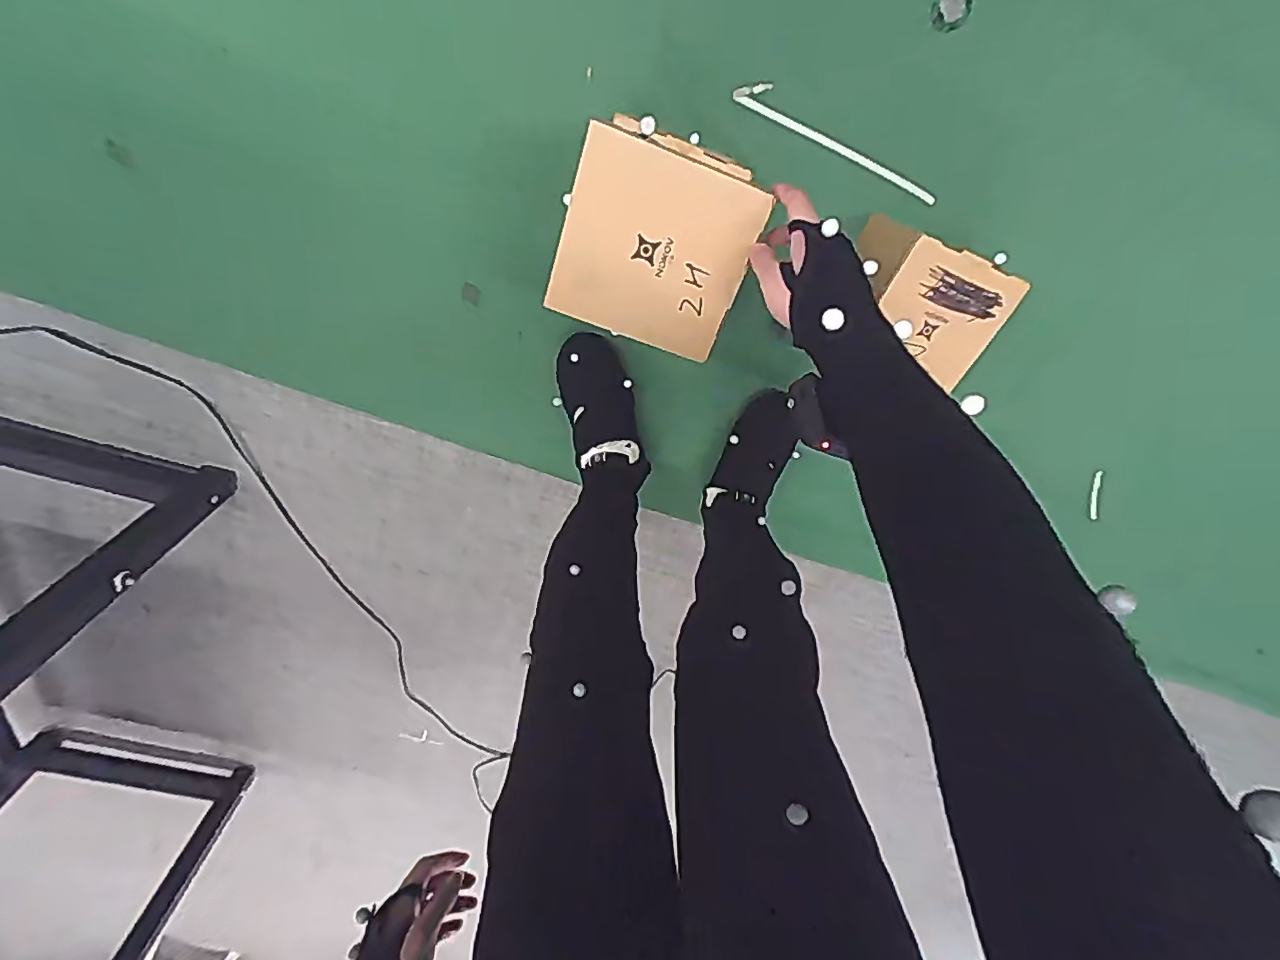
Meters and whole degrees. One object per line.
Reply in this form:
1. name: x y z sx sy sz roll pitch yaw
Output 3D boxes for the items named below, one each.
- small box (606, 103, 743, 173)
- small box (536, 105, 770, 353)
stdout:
1. small box: 0.015 -0.355 0.702 0.168 0.176 0.179 18 121 -10
2. small box: 0.008 -0.262 0.567 0.179 0.176 0.168 18 122 -10
